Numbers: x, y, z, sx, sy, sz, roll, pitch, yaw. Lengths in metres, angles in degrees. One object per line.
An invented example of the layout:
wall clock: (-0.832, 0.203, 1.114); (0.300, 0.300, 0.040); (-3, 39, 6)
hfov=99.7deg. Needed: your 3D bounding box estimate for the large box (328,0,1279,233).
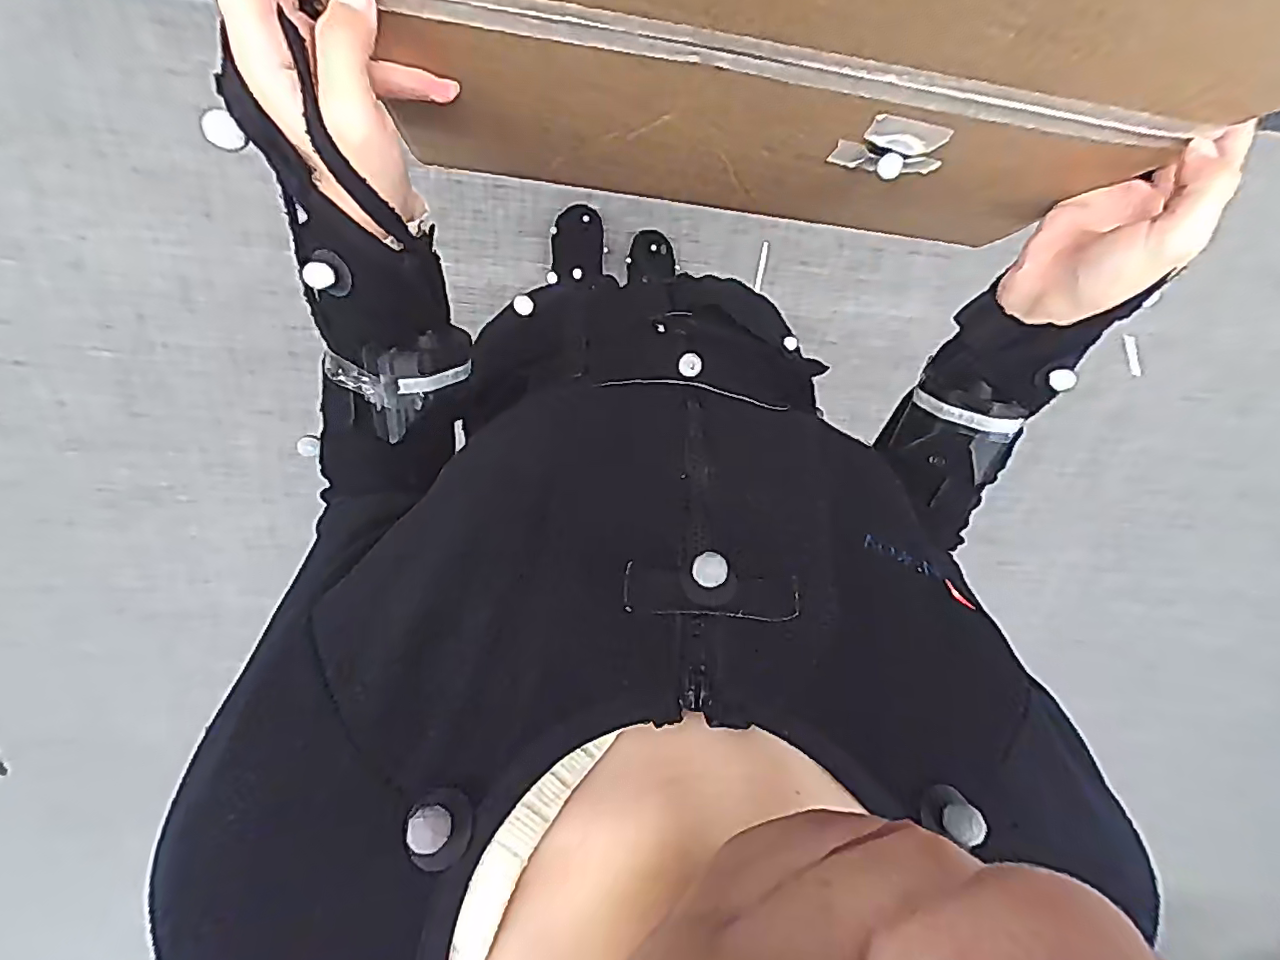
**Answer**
large box: (0.077, -0.334, 0.222); (0.408, 0.320, 0.320); (4, 96, -7)
